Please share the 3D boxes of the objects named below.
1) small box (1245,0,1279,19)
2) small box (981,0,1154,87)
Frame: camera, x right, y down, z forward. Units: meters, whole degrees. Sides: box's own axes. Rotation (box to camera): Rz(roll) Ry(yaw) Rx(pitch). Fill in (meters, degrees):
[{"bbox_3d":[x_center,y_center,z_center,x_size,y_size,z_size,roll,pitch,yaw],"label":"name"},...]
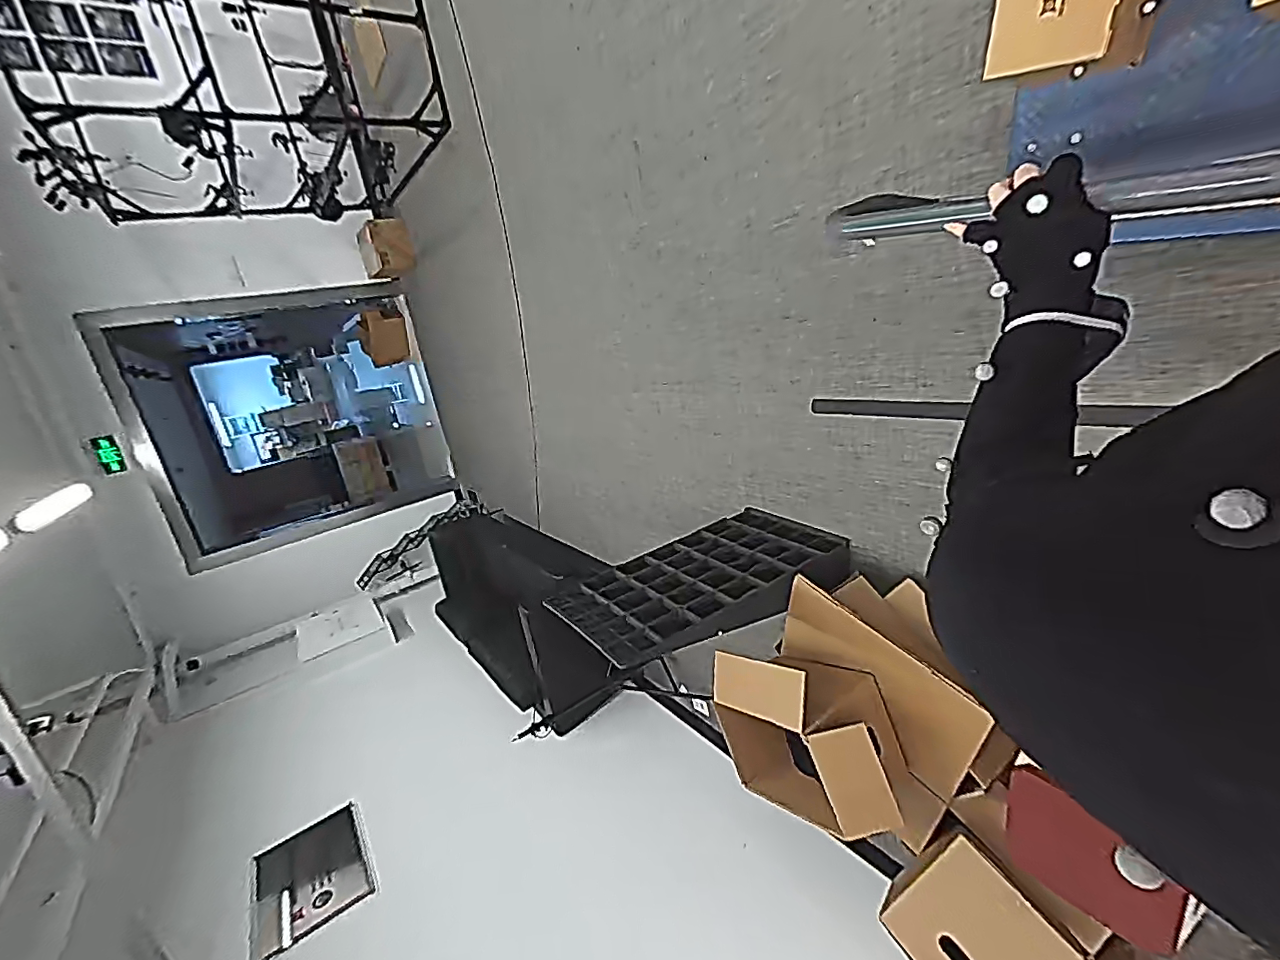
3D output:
[{"bbox_3d":[0.882,-0.690,0.641,0.179,0.176,0.168,17,122,53],"label":"small box"},{"bbox_3d":[0.703,-0.762,0.882,0.179,0.176,0.168,27,129,46],"label":"small box"}]
